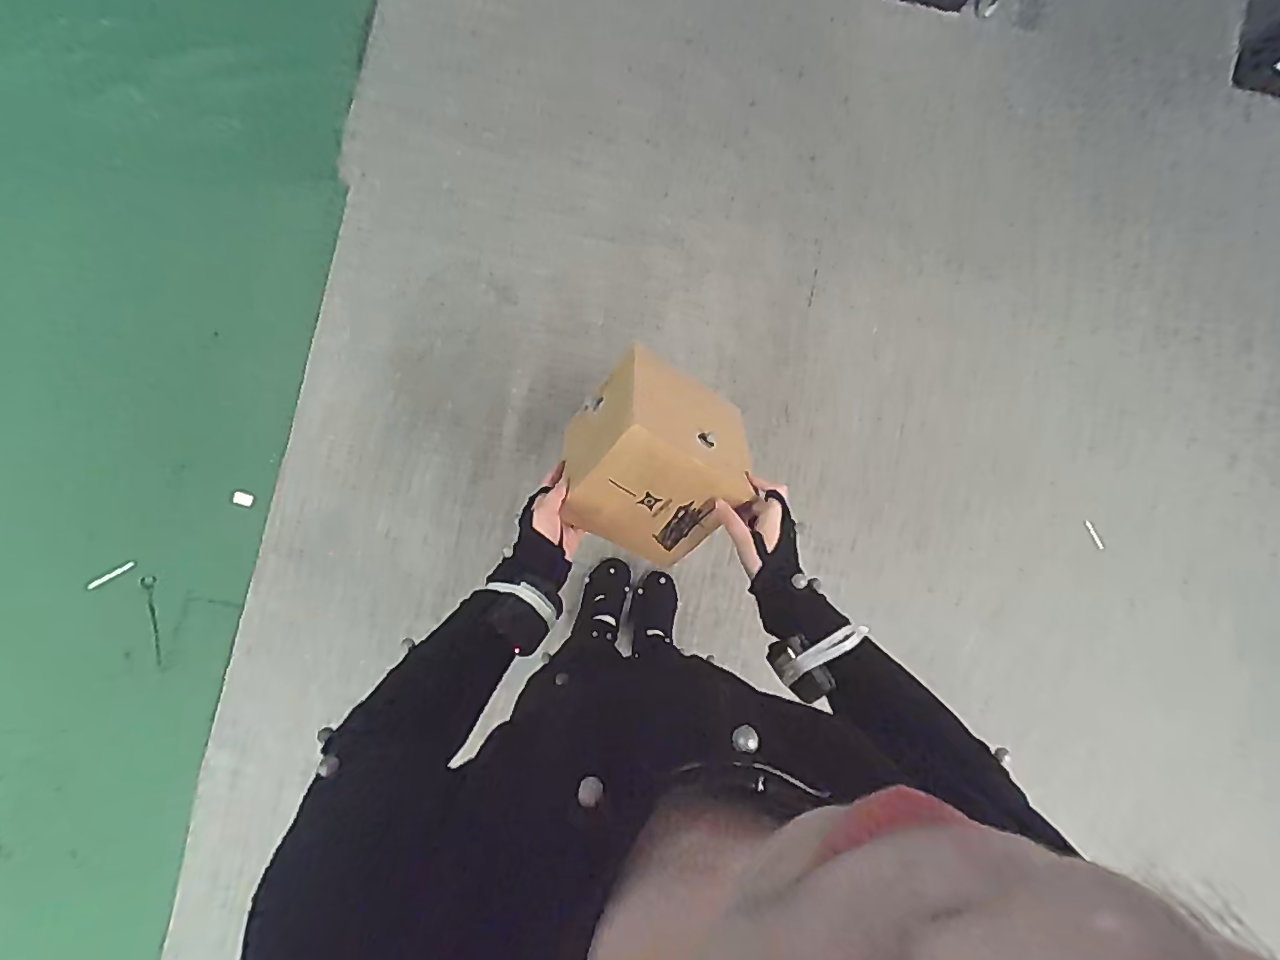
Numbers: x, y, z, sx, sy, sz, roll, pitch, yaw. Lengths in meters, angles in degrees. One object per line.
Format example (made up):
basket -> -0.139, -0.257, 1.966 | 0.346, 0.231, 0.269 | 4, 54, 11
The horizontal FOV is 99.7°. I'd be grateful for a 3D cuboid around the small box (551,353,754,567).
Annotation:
small box -> 0.013, -0.026, 0.673 | 0.179, 0.176, 0.168 | 28, 127, -24
